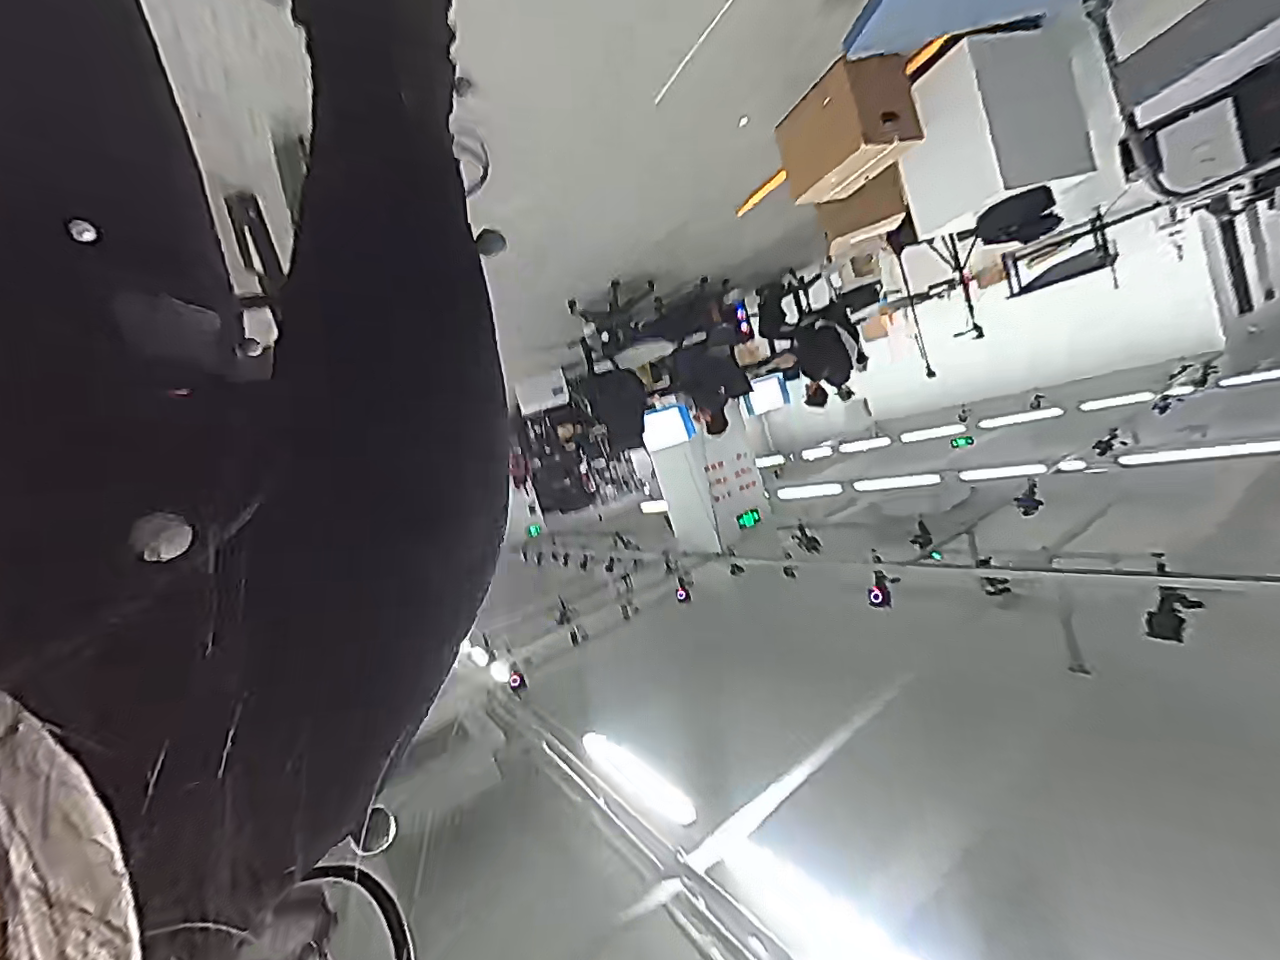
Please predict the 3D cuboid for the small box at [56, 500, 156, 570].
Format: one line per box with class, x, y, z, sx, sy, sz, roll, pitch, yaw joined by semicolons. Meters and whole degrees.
small box;-1.654;0.167;1.680;0.168;0.176;0.179;-21;-175;-34
